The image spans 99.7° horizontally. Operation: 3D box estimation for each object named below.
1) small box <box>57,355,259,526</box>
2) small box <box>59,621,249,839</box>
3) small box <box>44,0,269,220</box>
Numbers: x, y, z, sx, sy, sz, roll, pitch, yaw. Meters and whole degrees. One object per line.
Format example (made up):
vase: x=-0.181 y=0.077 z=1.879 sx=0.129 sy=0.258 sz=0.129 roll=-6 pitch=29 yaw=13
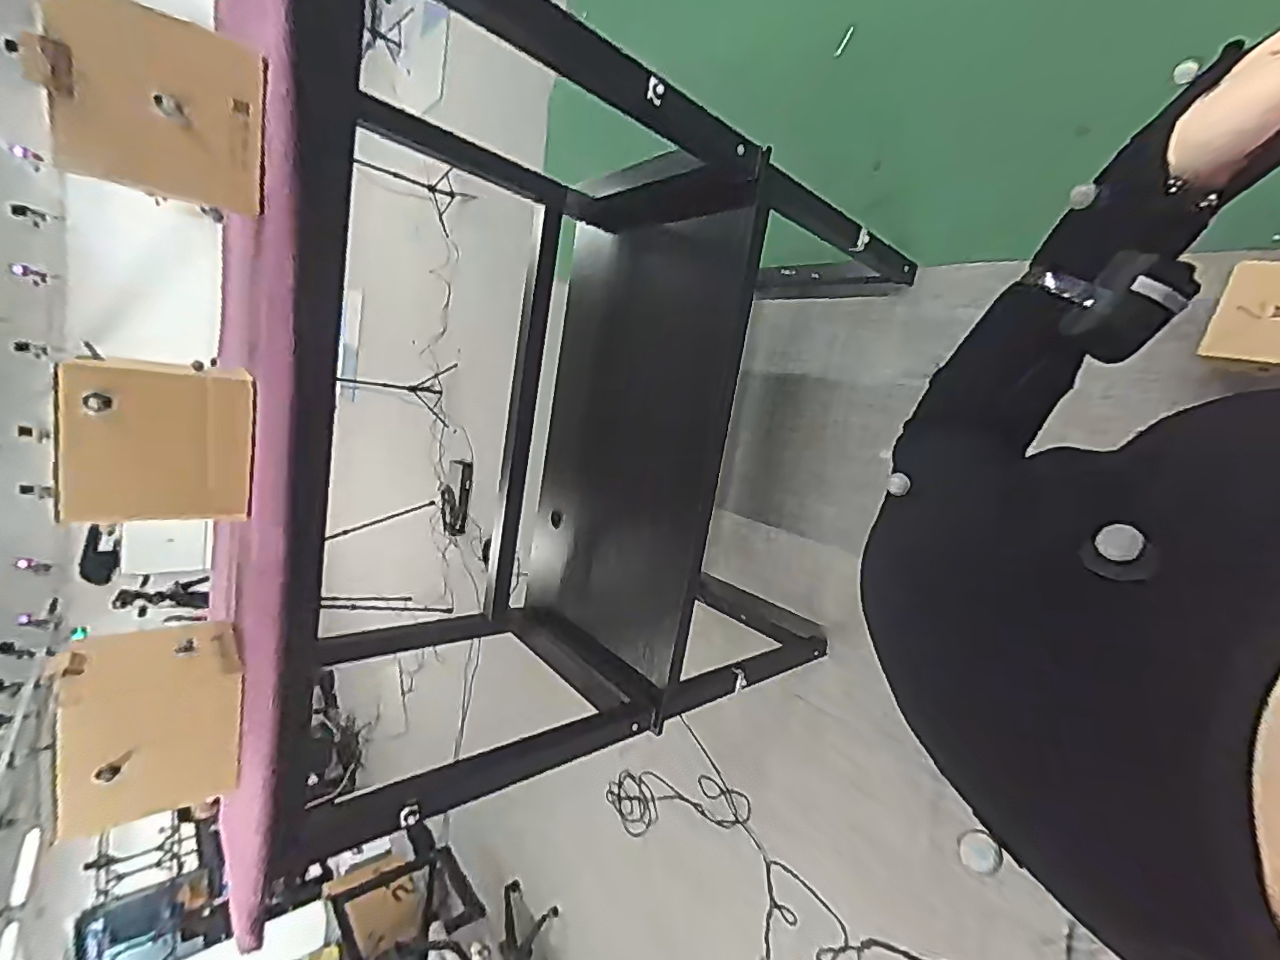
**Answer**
small box: x=-0.578 y=-0.051 z=0.667 sx=0.168 sy=0.176 sz=0.179 roll=19 pitch=103 yaw=49
small box: x=-0.625 y=0.307 z=0.708 sx=0.168 sy=0.176 sz=0.179 roll=18 pitch=102 yaw=46
small box: x=-0.527 y=-0.404 z=0.609 sx=0.179 sy=0.176 sz=0.168 roll=30 pitch=113 yaw=46
